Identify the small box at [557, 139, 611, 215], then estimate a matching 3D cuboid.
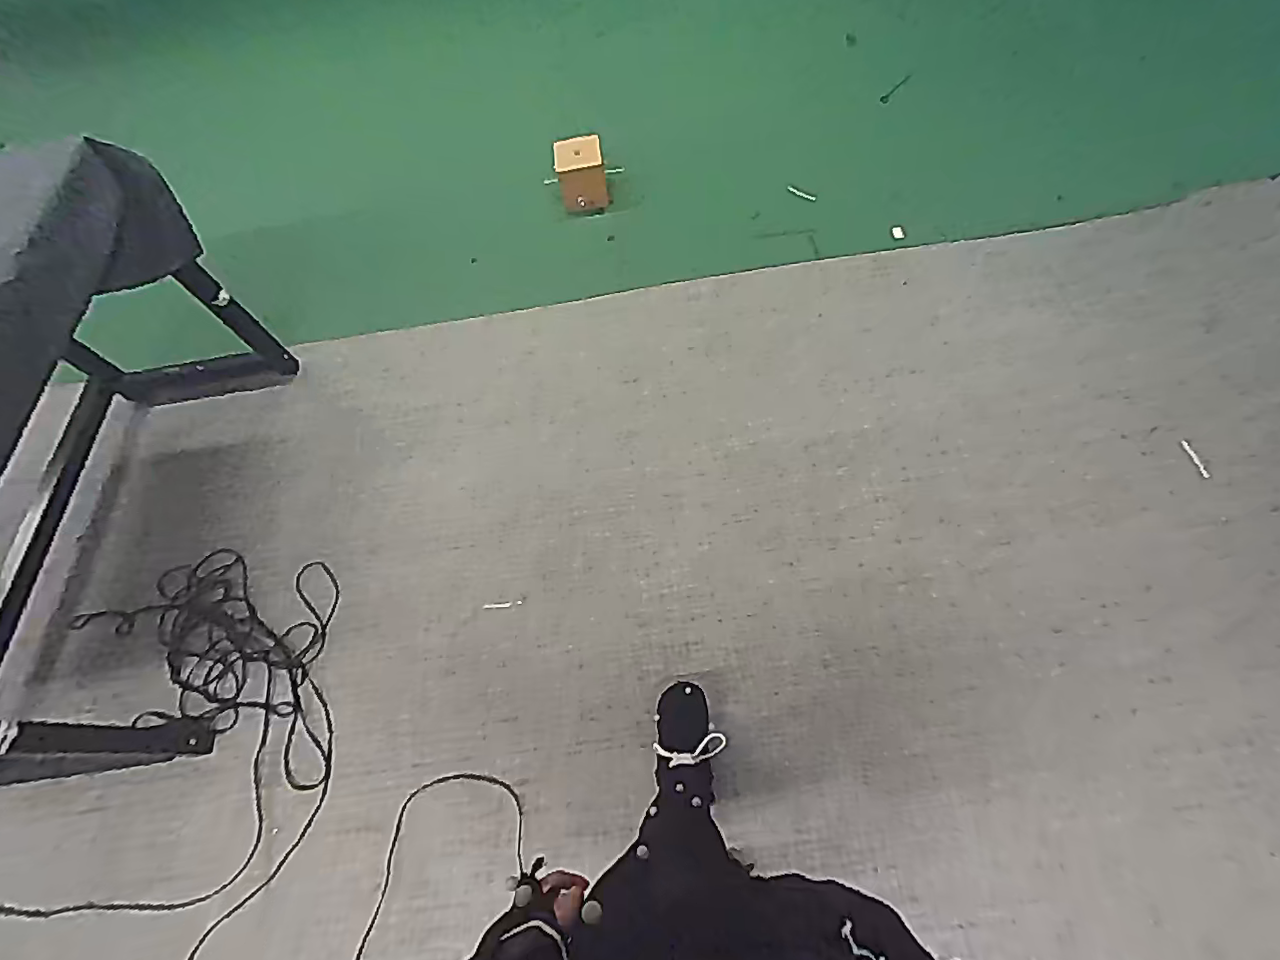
[{"bbox_3d":[-0.205,-1.105,1.979,0.168,0.176,0.179,-9,63,2],"label":"small box"}]
